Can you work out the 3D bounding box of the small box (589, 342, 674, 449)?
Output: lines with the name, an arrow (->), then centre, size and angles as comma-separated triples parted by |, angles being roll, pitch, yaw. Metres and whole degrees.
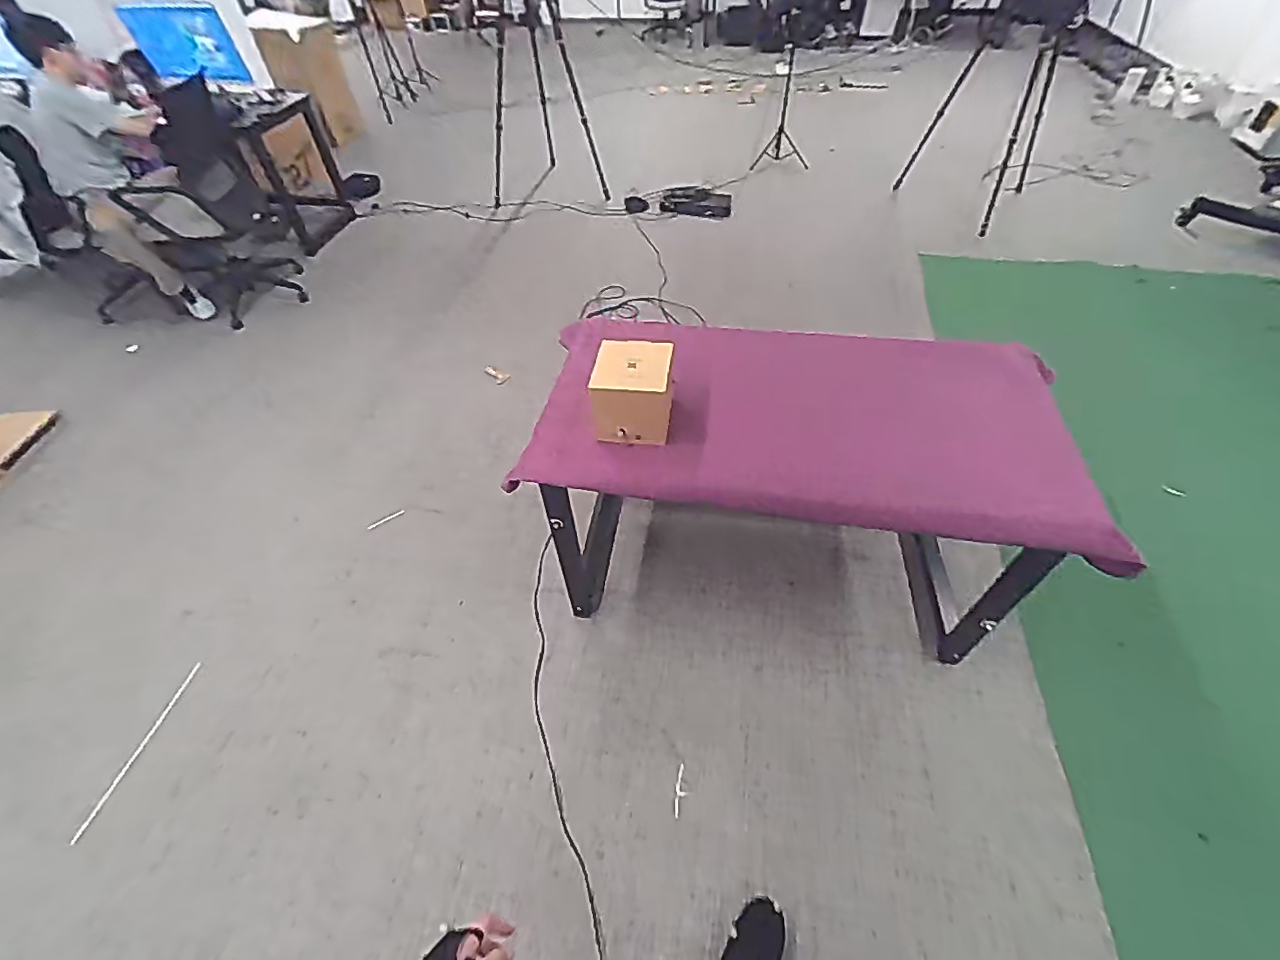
small box -> -0.014, -0.194, 1.242 | 0.168, 0.176, 0.179 | 5, 50, 7
